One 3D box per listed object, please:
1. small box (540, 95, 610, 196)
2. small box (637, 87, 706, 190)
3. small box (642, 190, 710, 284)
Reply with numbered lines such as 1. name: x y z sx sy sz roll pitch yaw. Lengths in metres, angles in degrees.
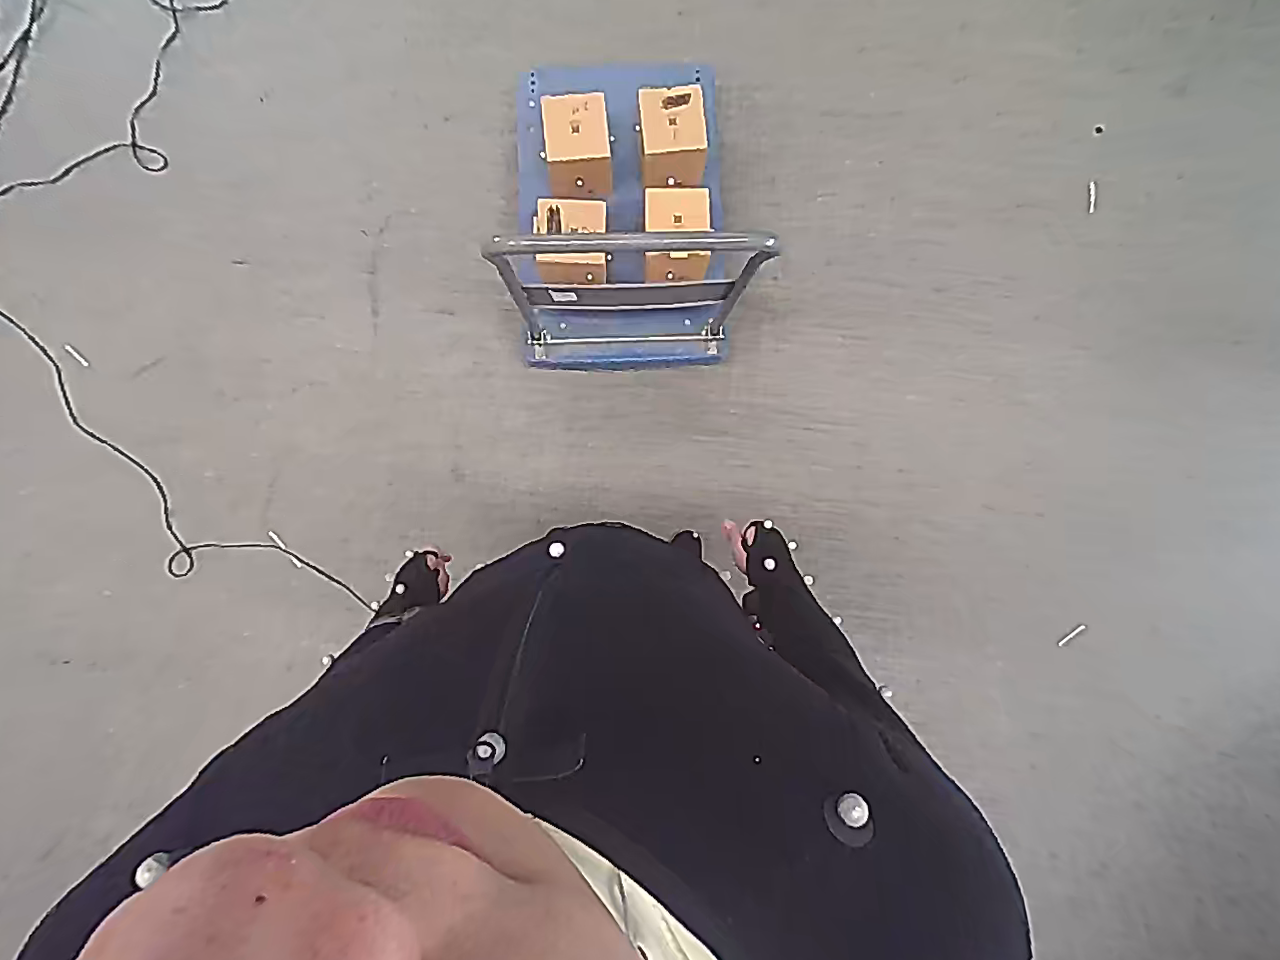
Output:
1. small box: -0.170 -0.890 1.456 0.168 0.176 0.179 -6 87 -3
2. small box: 0.080 -0.917 1.464 0.168 0.176 0.179 -6 88 -1
3. small box: 0.091 -0.647 1.450 0.168 0.176 0.179 -1 87 -2
